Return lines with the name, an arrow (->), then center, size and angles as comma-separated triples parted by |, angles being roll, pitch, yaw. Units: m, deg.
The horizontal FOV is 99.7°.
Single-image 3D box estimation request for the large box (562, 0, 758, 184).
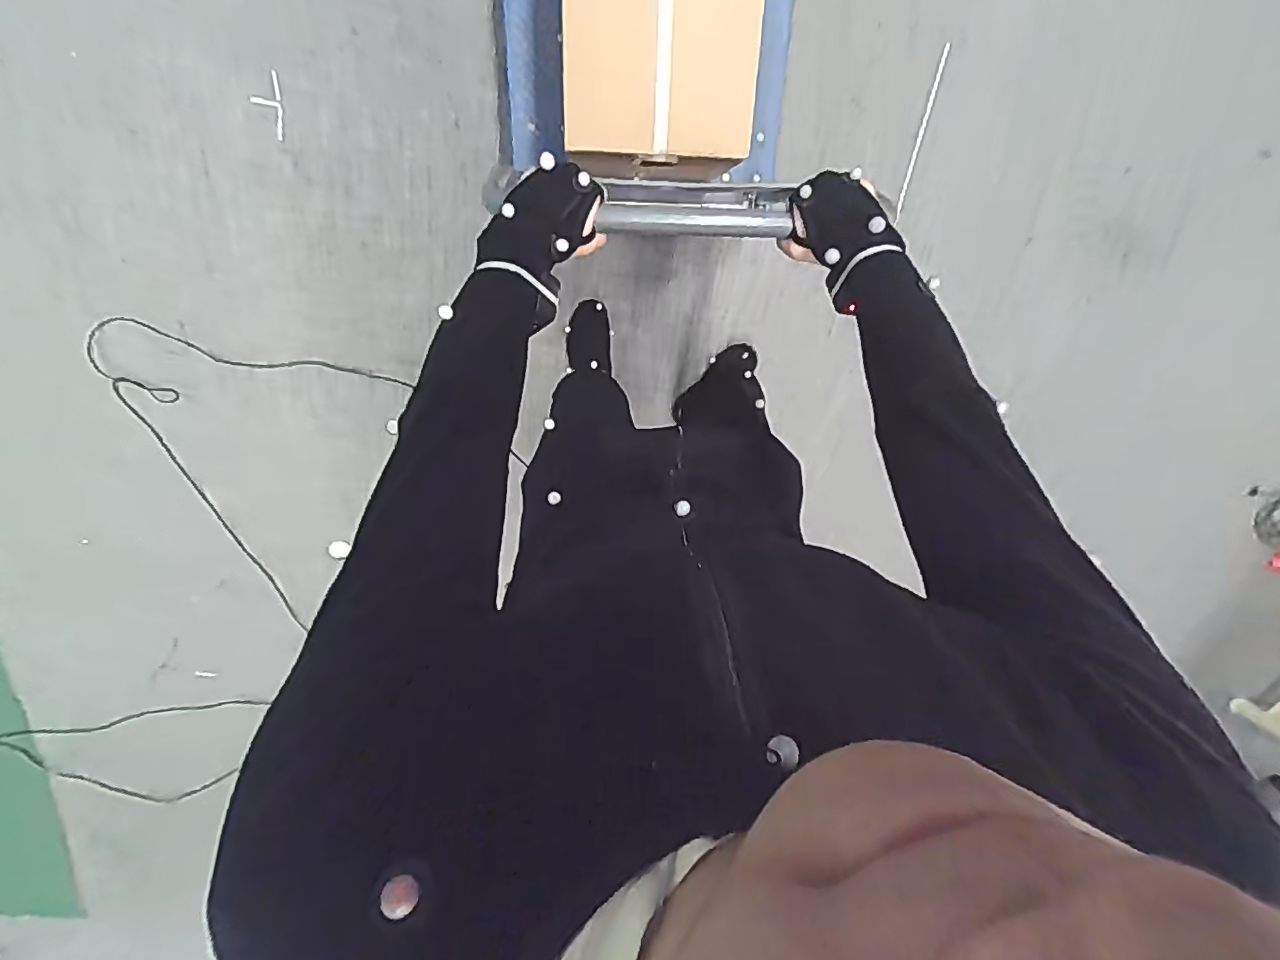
large box -> 0.025, -0.789, 0.992 | 0.320, 0.320, 0.408 | 0, 112, -5
